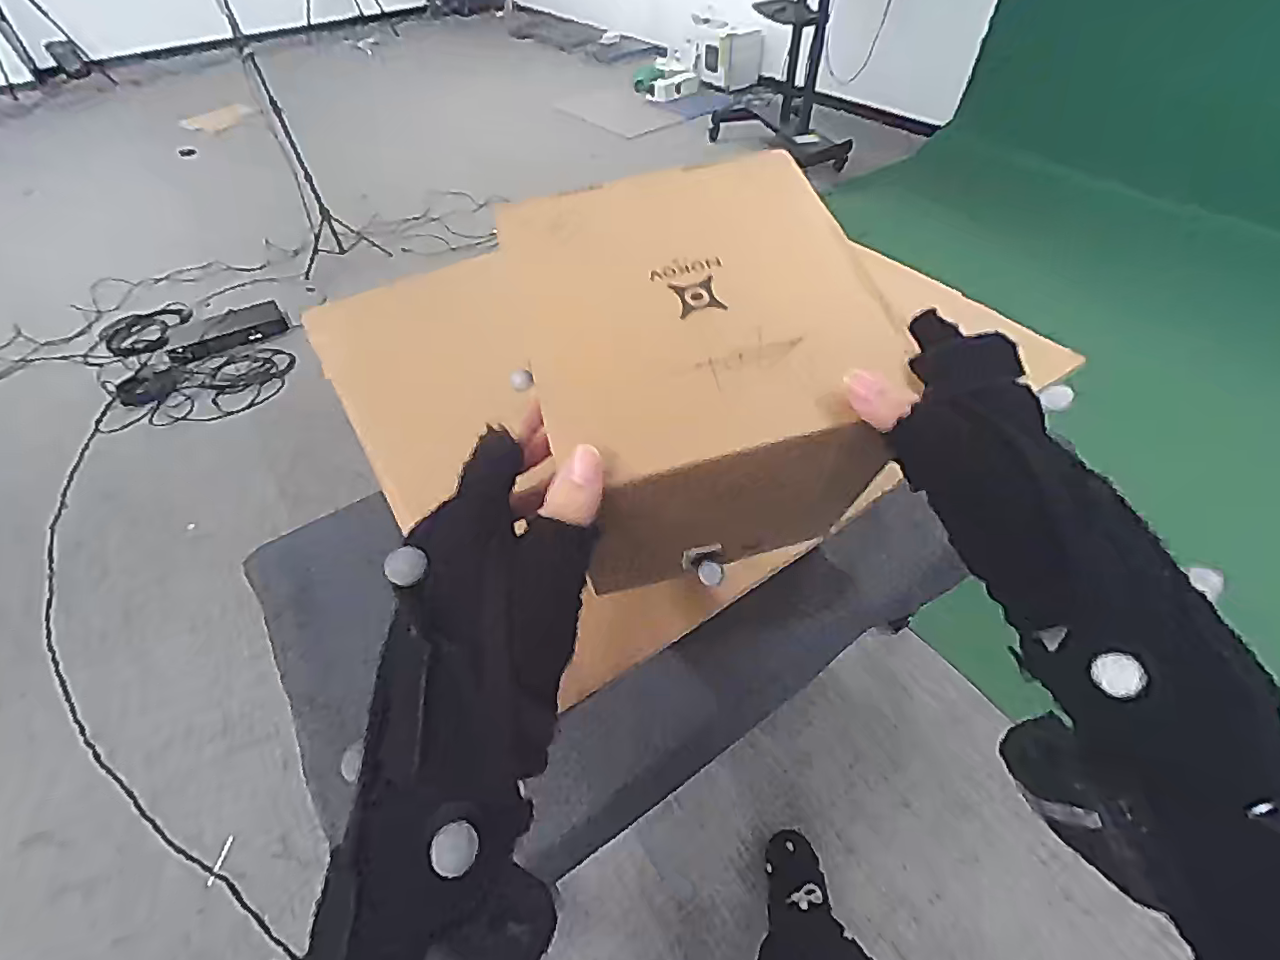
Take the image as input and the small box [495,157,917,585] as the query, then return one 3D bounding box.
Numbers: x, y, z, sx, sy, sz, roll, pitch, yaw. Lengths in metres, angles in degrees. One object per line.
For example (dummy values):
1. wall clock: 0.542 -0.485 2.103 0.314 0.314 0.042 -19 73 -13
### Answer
1. small box: 0.023 -0.055 0.337 0.168 0.176 0.179 -16 66 -6
